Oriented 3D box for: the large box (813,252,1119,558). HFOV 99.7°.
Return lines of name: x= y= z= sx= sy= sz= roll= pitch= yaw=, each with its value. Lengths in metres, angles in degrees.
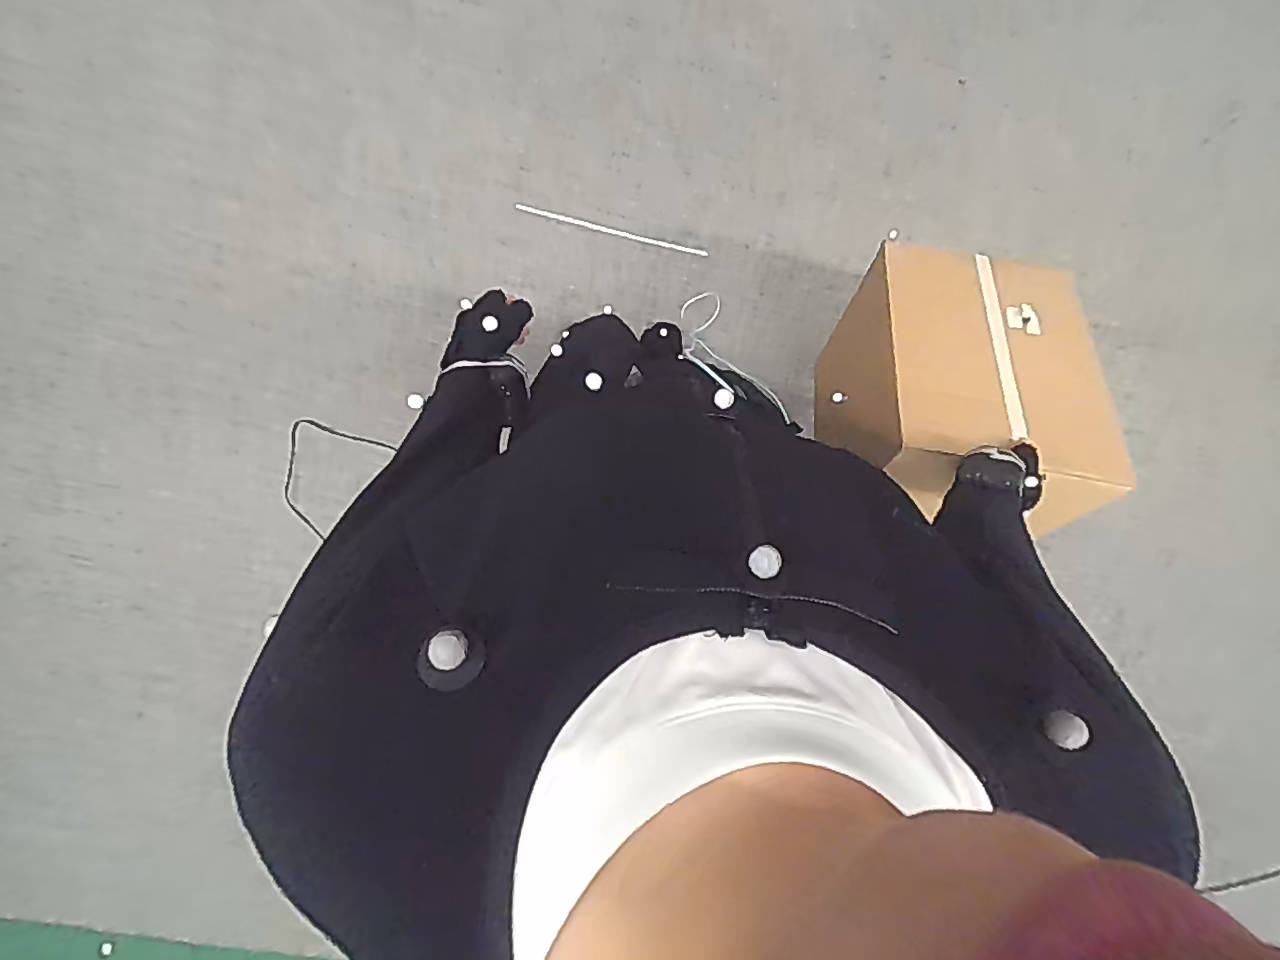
large box: x=0.503 y=-0.115 z=0.939 sx=0.320 sy=0.320 sz=0.408 roll=10 pitch=62 yaw=-1
